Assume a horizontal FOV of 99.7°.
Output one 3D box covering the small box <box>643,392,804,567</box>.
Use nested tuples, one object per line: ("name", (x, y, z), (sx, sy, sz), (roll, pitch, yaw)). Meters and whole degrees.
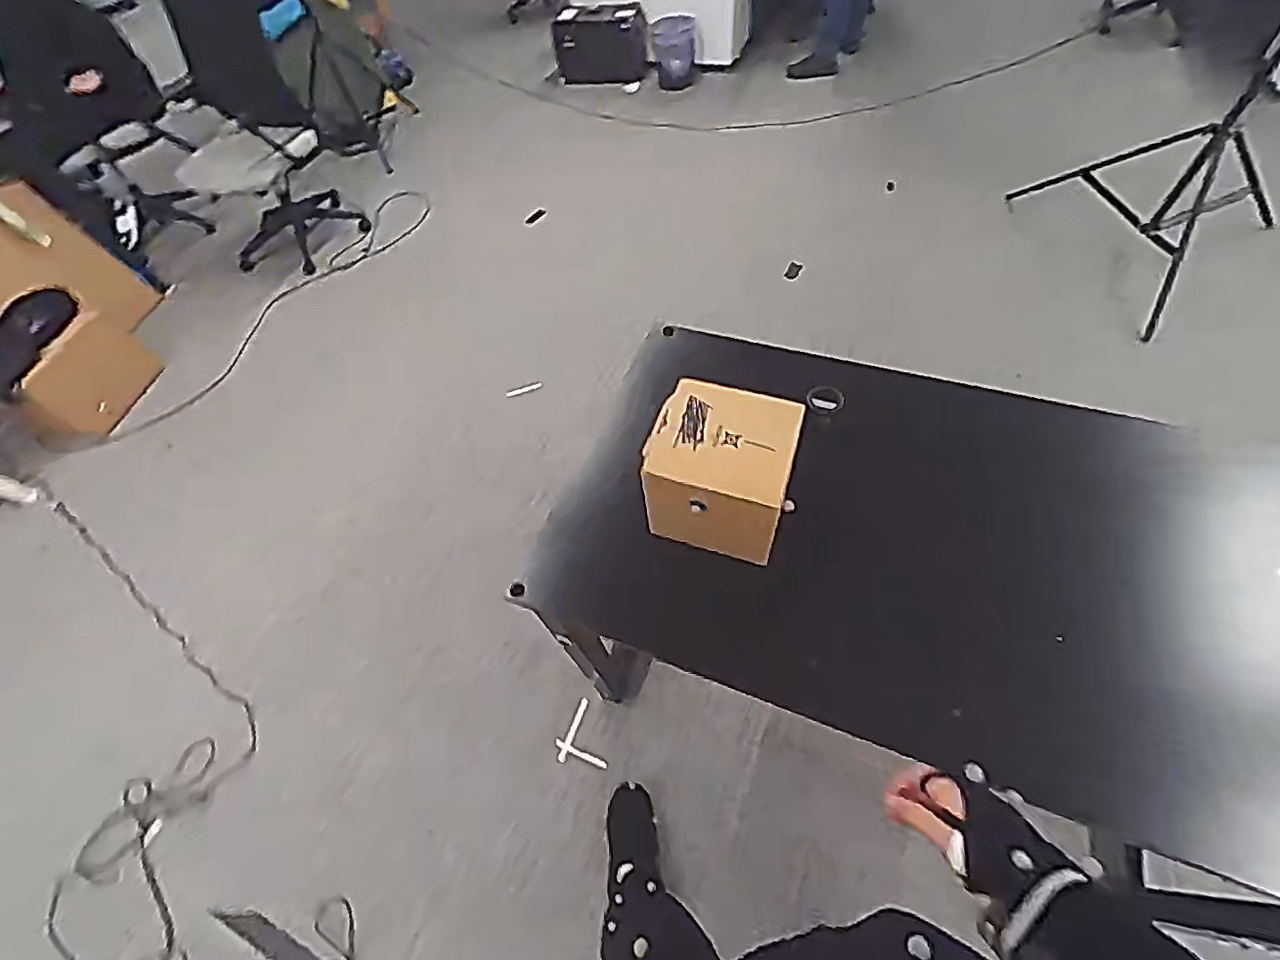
("small box", (0.118, 0.004, 0.770), (0.179, 0.176, 0.168), (15, 60, 15))
